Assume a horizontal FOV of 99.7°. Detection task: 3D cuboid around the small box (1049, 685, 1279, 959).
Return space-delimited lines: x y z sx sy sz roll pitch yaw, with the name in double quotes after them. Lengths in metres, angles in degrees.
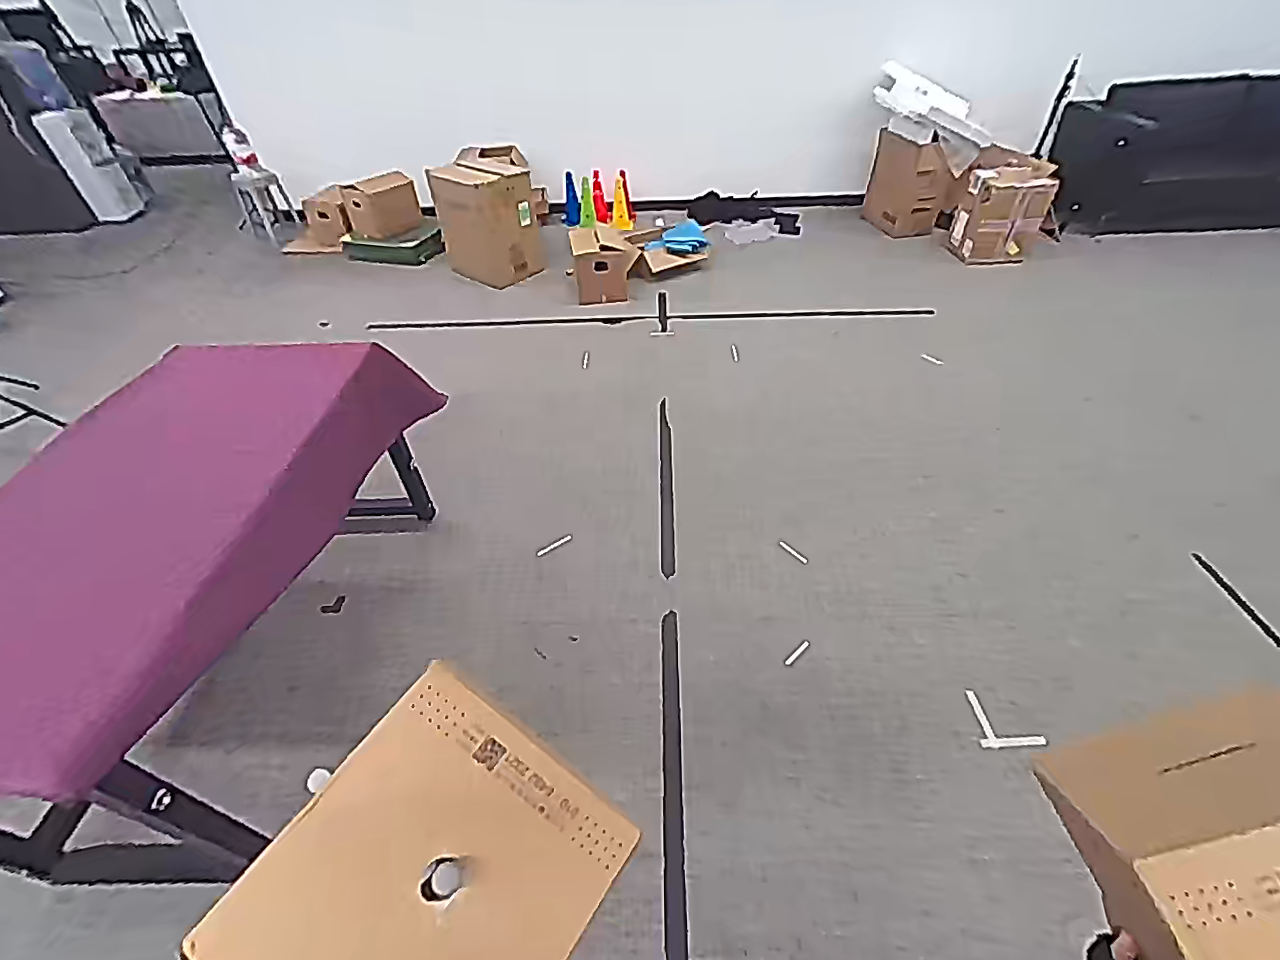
0.377 0.235 0.299 0.168 0.179 0.176 -27 73 15 "small box"
